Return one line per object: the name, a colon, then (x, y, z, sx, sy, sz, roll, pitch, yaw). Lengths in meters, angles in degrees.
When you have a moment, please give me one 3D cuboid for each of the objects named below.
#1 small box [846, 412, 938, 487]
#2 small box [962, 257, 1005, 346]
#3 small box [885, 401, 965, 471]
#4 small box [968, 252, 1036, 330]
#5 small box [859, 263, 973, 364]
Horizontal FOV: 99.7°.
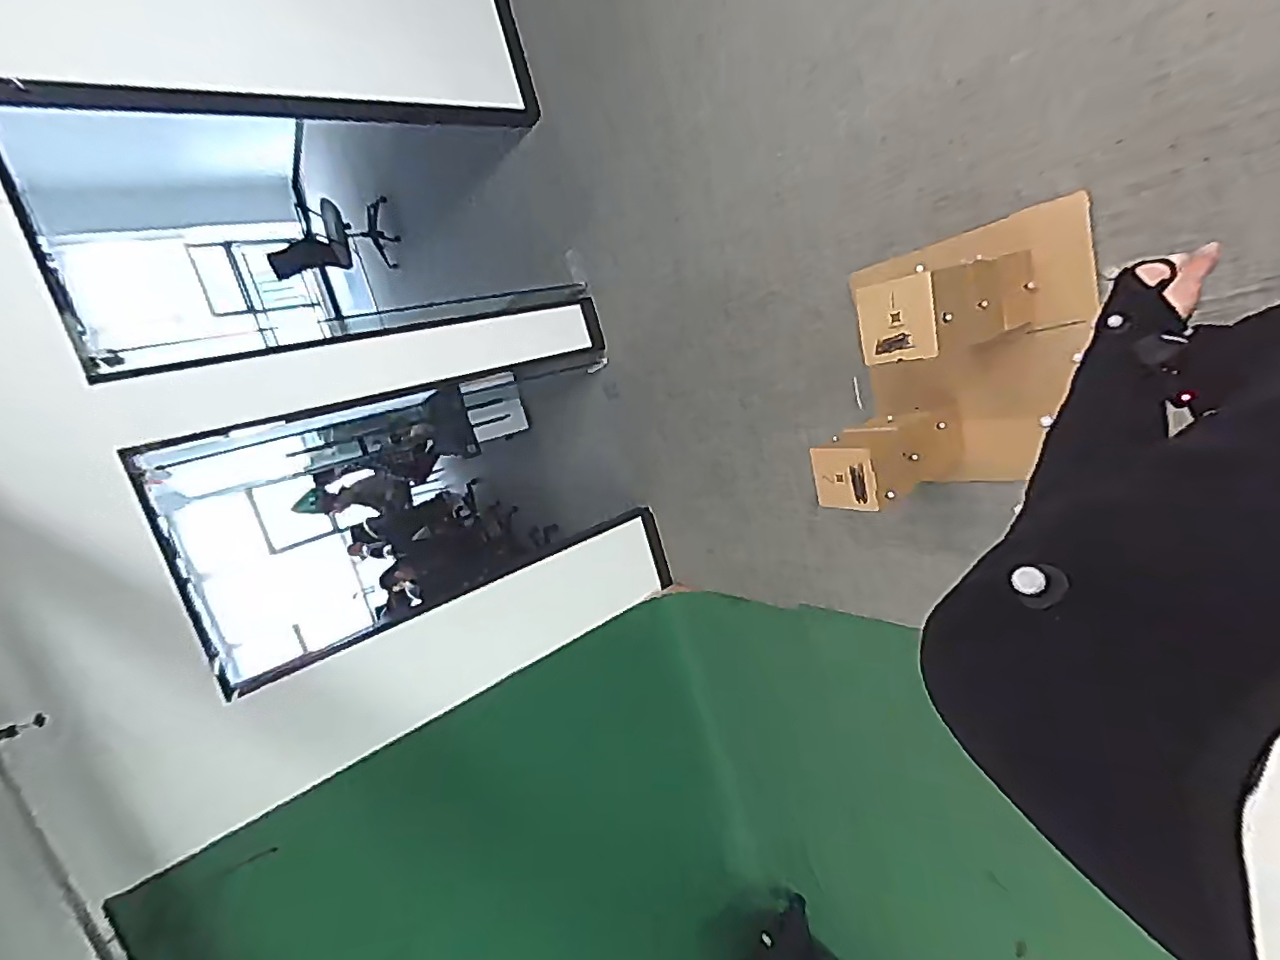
small box: (0.712, -0.089, 1.525, 0.168, 0.176, 0.179, 2, 111, 55)
small box: (0.745, -0.416, 1.286, 0.168, 0.176, 0.179, 8, 115, 53)
small box: (0.840, -0.134, 1.612, 0.168, 0.176, 0.179, 2, 110, 56)
small box: (0.875, -0.468, 1.370, 0.168, 0.176, 0.179, 5, 112, 55)
small box: (0.615, -0.367, 1.199, 0.168, 0.176, 0.179, 6, 113, 53)
